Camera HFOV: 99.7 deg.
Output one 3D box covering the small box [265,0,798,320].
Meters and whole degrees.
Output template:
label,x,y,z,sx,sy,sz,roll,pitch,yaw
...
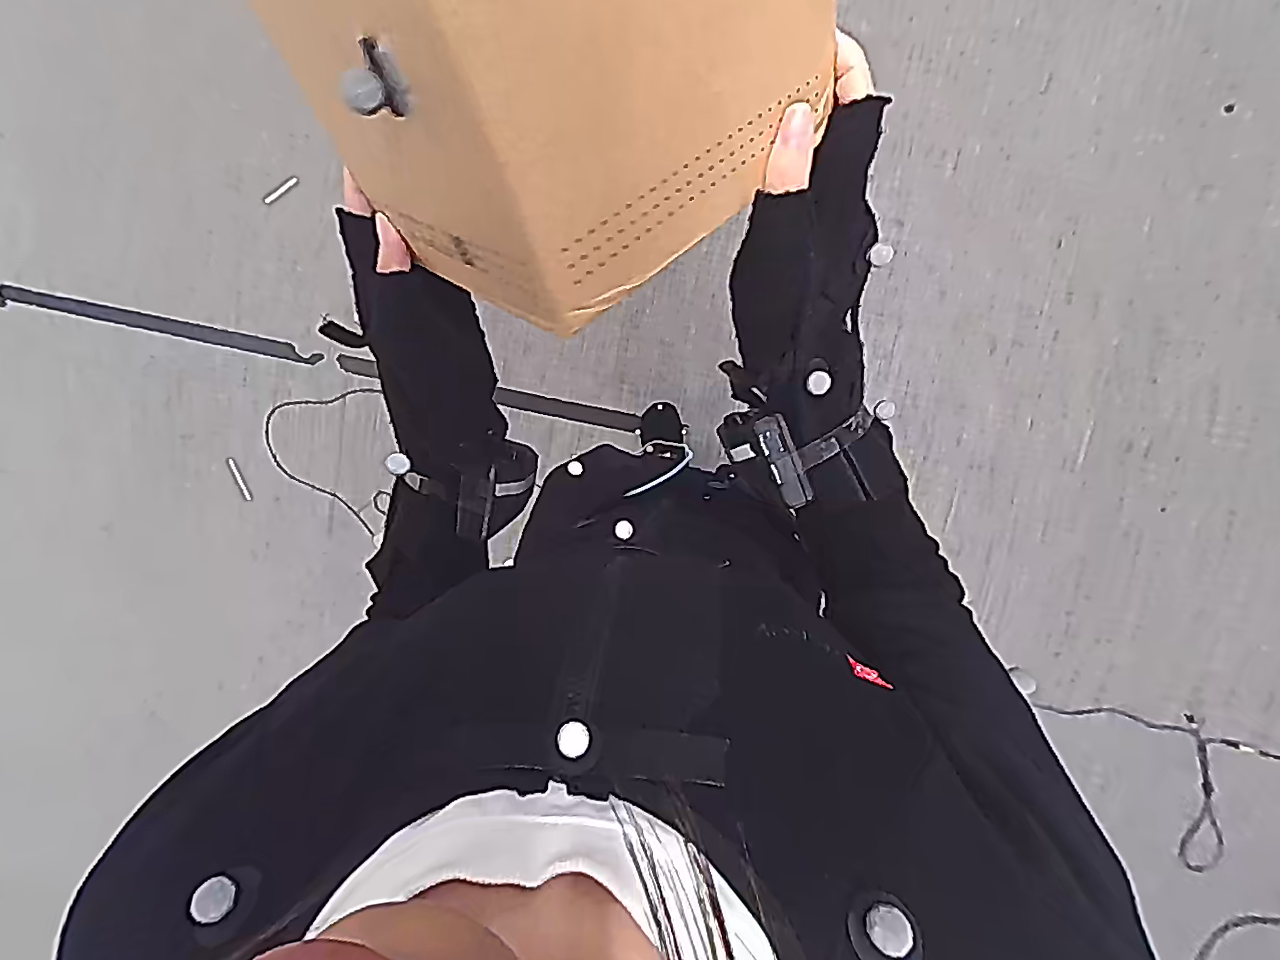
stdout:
label,x,y,z,sx,sy,sz,roll,pitch,yaw
small box,-0.043,-0.202,0.244,0.179,0.176,0.168,-41,51,-16
